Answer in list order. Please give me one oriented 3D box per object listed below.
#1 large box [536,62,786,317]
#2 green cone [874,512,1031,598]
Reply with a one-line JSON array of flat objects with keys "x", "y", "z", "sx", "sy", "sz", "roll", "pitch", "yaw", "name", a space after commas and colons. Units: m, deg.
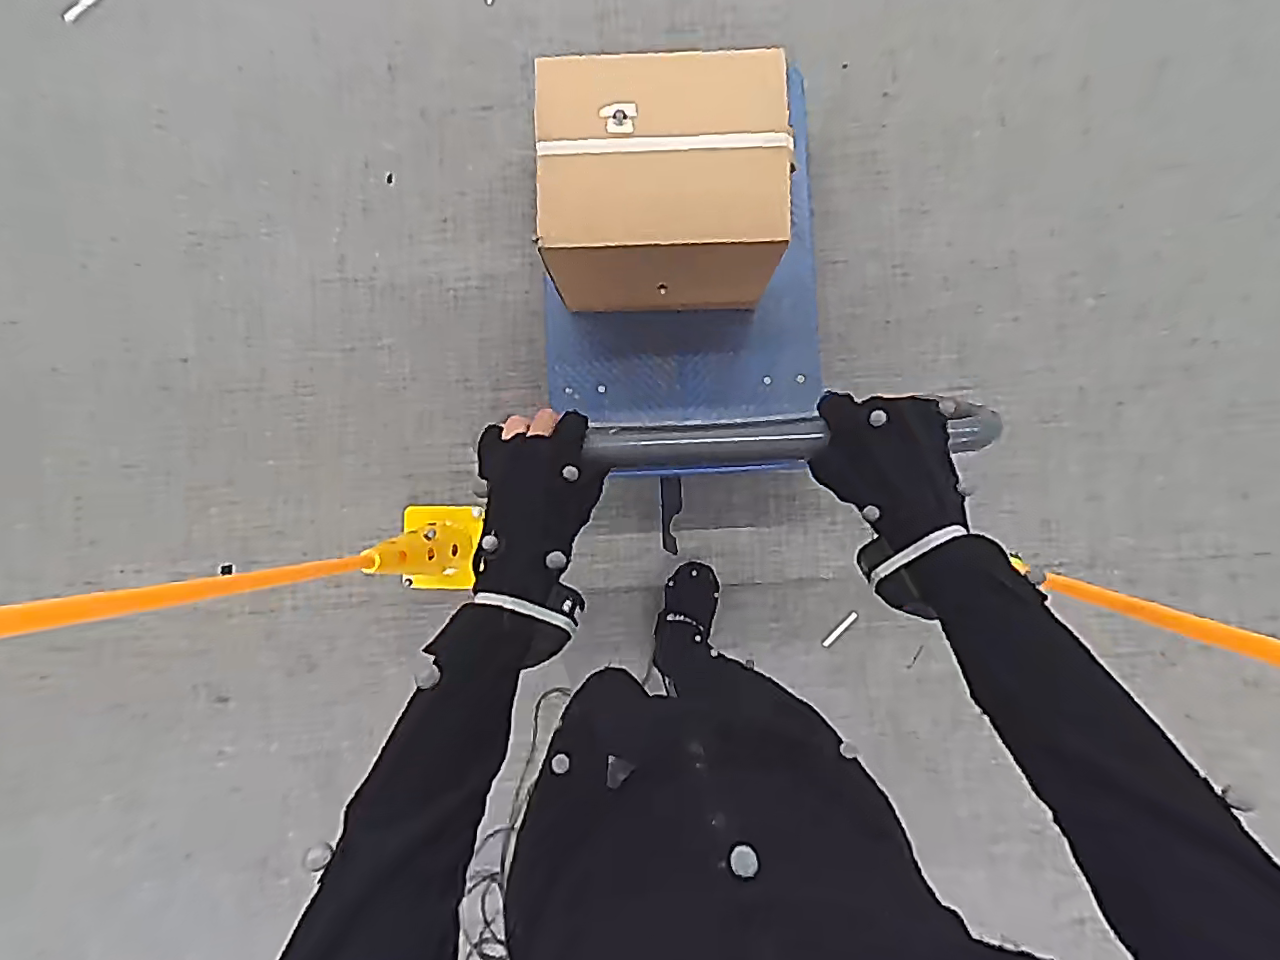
[{"x": 0.040, "y": -0.511, "z": 1.022, "sx": 0.408, "sy": 0.320, "sz": 0.320, "roll": -1, "pitch": 88, "yaw": 3, "name": "large box"}, {"x": 0.652, "y": 0.168, "z": 1.108, "sx": 0.202, "sy": 0.368, "sz": 0.200, "roll": 1, "pitch": 87, "yaw": 1, "name": "green cone"}]
